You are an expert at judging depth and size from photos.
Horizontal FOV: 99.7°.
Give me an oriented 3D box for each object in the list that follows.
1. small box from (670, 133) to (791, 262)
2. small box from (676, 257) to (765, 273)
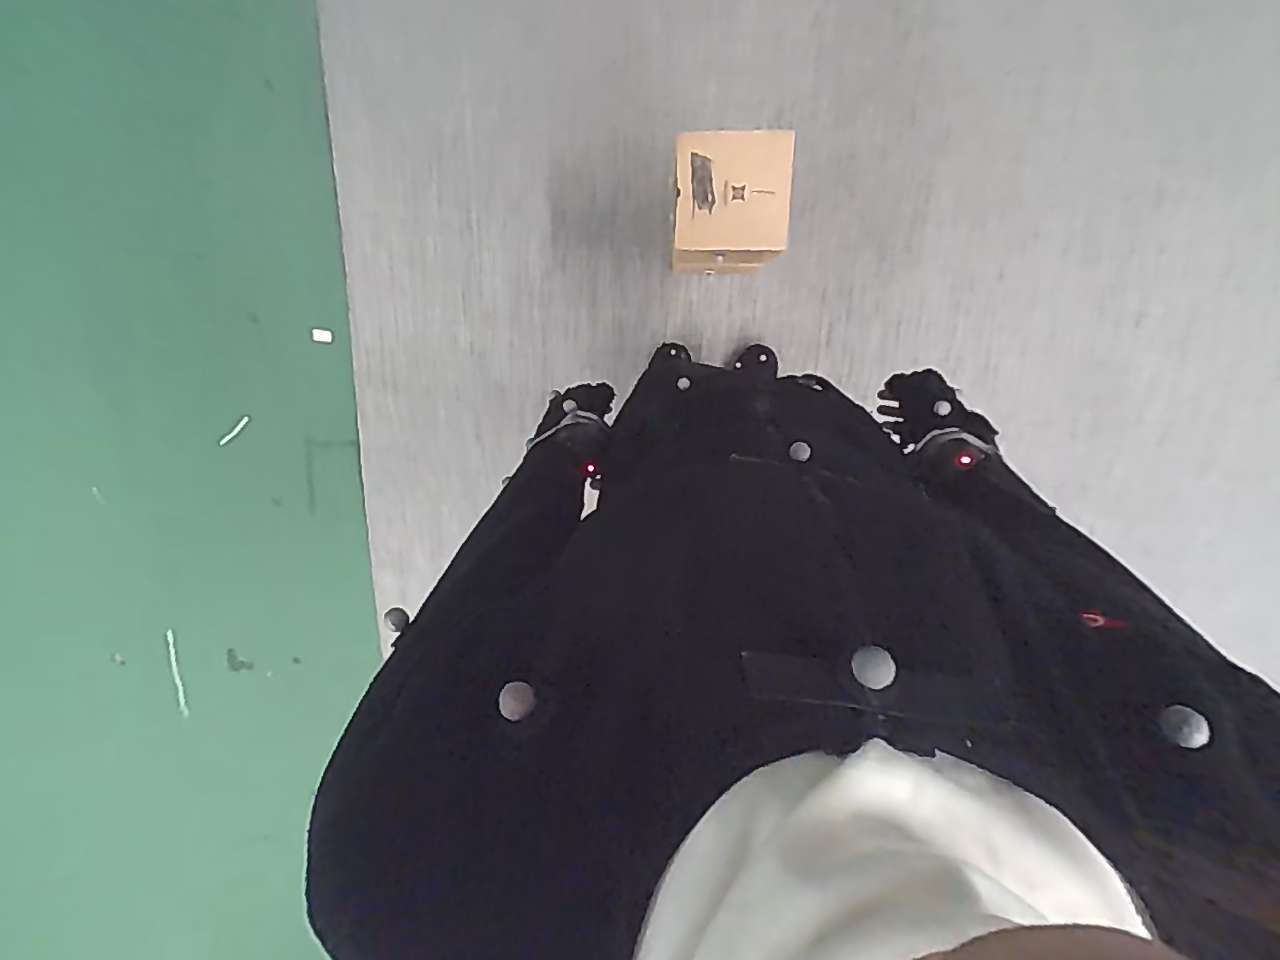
[{"bbox_3d":[0.143,-0.463,0.909,0.179,0.176,0.168,2,106,3],"label":"small box"},{"bbox_3d":[0.154,-0.504,1.051,0.168,0.176,0.179,1,107,4],"label":"small box"}]
